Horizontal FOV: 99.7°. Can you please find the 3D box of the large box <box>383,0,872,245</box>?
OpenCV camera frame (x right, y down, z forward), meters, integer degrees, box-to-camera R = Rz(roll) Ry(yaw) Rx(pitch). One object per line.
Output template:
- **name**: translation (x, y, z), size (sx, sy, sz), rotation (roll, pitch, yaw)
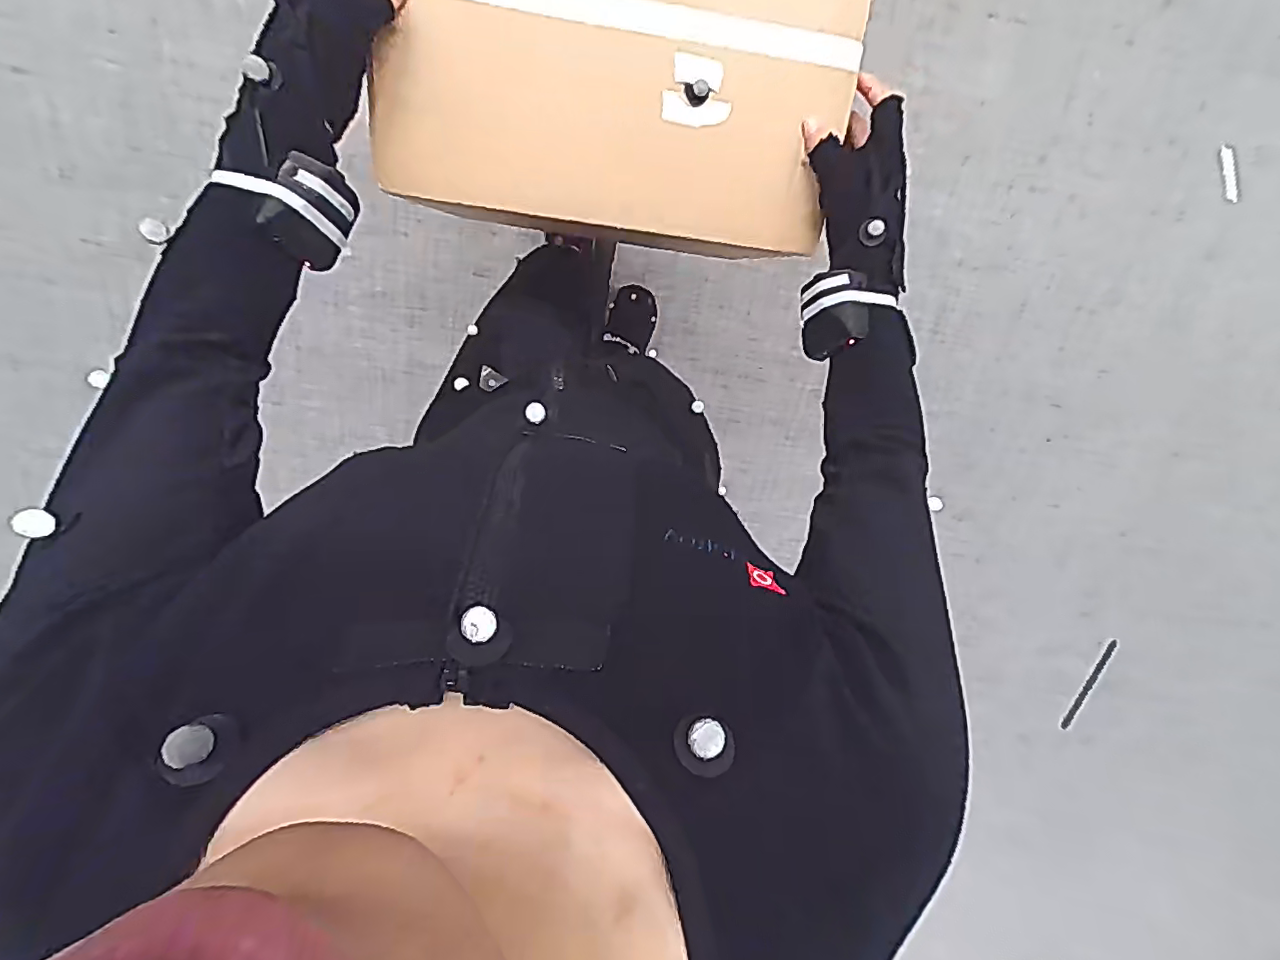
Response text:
- **large box**: translation (-0.019, -0.445, 0.580), size (0.408, 0.320, 0.320), rotation (5, 112, -8)
